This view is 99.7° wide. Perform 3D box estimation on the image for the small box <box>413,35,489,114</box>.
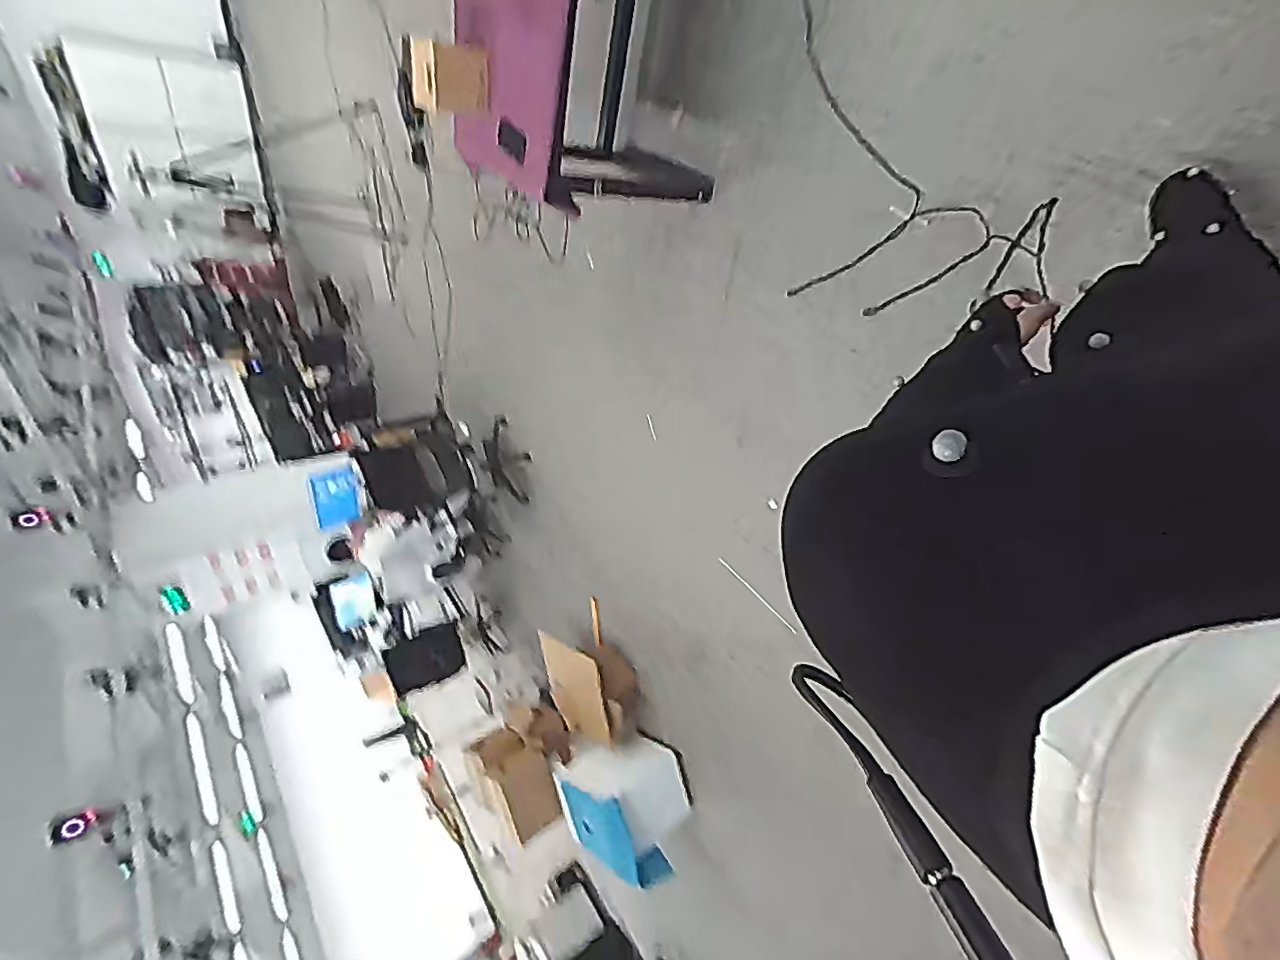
[{"bbox_3d":[-0.572,-1.231,1.647,0.179,0.176,0.168,42,134,36],"label":"small box"}]
